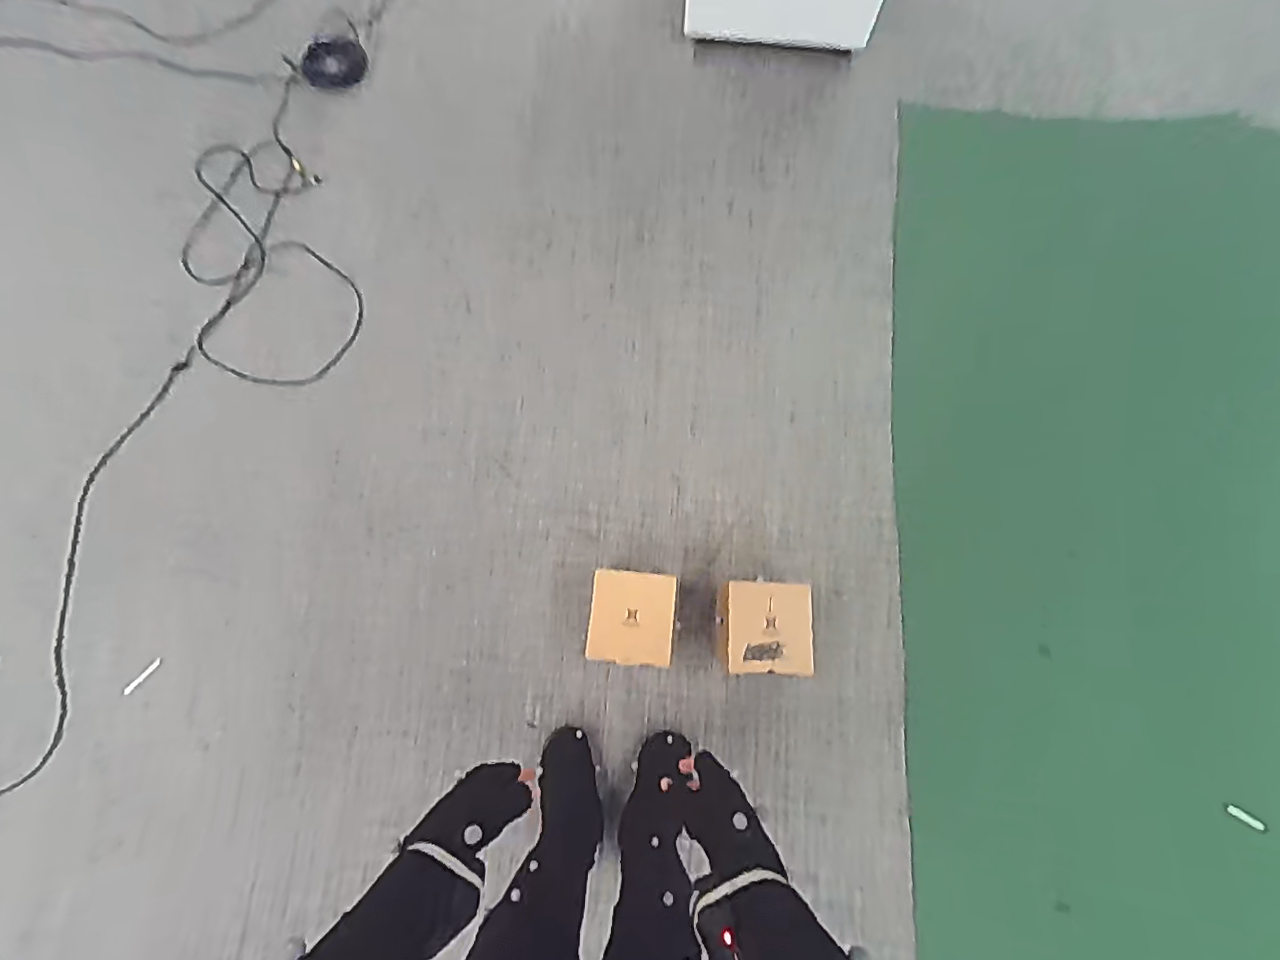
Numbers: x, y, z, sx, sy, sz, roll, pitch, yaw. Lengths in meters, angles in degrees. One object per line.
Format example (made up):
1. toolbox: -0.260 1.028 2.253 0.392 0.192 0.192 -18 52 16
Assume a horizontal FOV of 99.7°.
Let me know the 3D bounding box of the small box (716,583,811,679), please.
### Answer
1. small box: 0.252 0.310 1.128 0.168 0.176 0.179 2 76 1

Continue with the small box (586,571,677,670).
1. small box: -0.016 0.291 1.136 0.168 0.176 0.179 5 77 2
